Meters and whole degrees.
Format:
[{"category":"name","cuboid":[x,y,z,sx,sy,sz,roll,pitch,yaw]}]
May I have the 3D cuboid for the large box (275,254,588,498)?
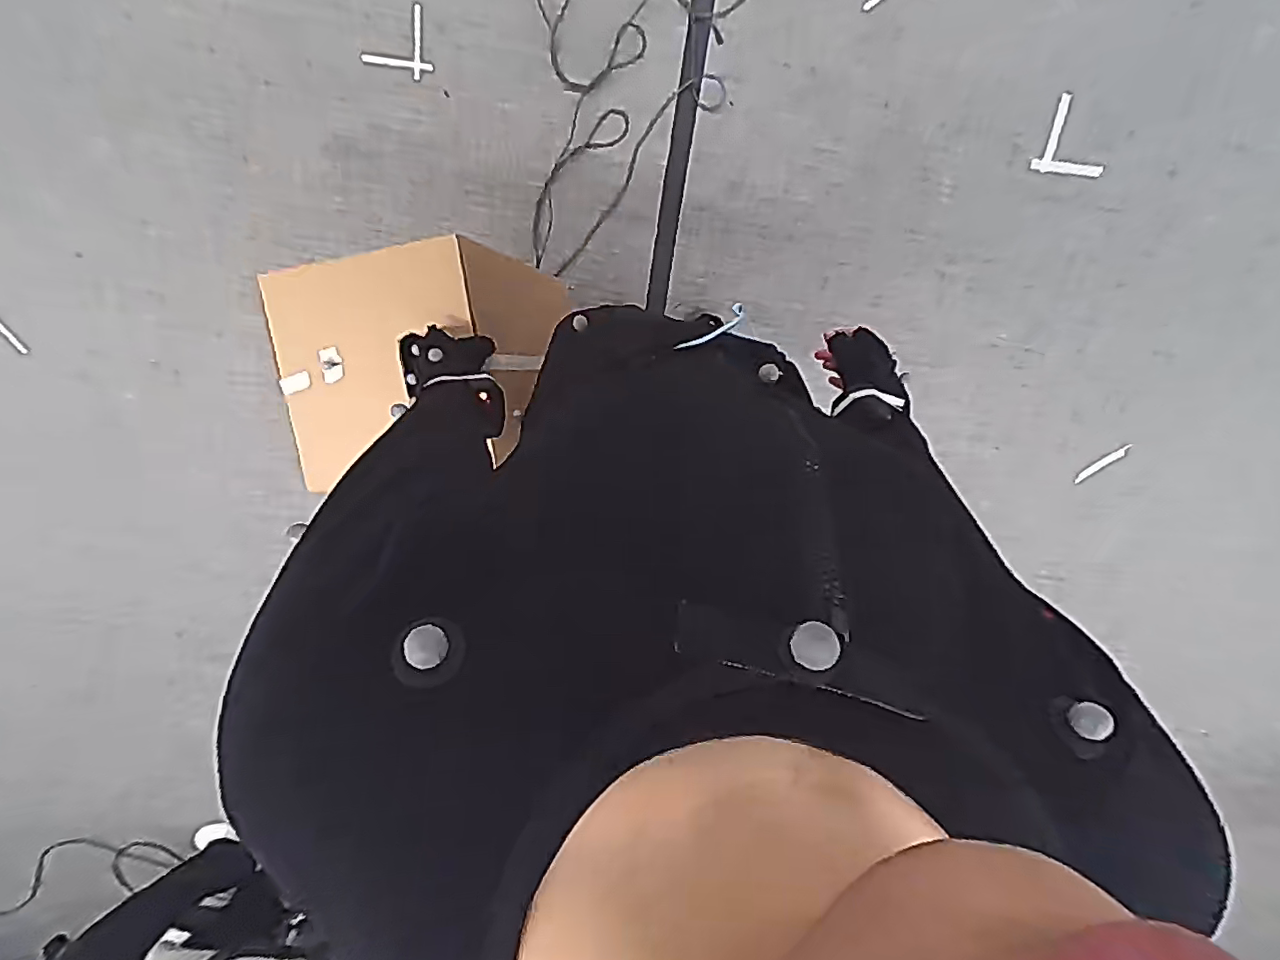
[{"category":"large box","cuboid":[-0.313,-0.172,0.937,0.320,0.408,0.320,-4,101,12]}]
